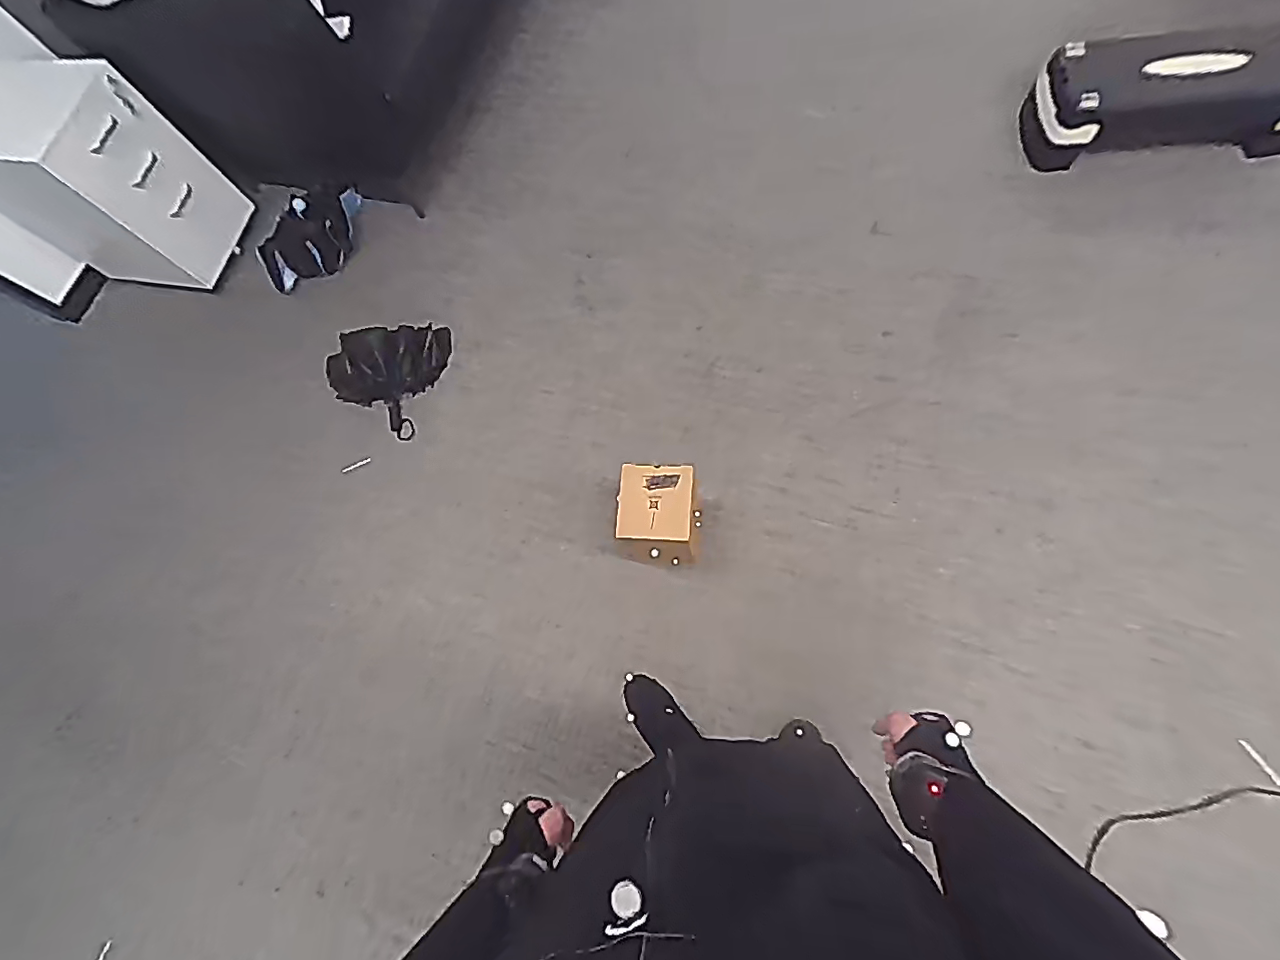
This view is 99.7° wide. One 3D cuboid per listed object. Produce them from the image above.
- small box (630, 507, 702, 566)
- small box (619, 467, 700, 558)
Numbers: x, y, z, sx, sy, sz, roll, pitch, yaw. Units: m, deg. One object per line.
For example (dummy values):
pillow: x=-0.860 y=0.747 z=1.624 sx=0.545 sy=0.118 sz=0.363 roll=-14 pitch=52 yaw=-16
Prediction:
small box: x=0.075 y=0.129 z=1.429 sx=0.168 sy=0.176 sz=0.179 roll=1 pitch=70 yaw=10
small box: x=0.053 y=0.080 z=1.274 sx=0.168 sy=0.176 sz=0.179 roll=1 pitch=73 yaw=11
